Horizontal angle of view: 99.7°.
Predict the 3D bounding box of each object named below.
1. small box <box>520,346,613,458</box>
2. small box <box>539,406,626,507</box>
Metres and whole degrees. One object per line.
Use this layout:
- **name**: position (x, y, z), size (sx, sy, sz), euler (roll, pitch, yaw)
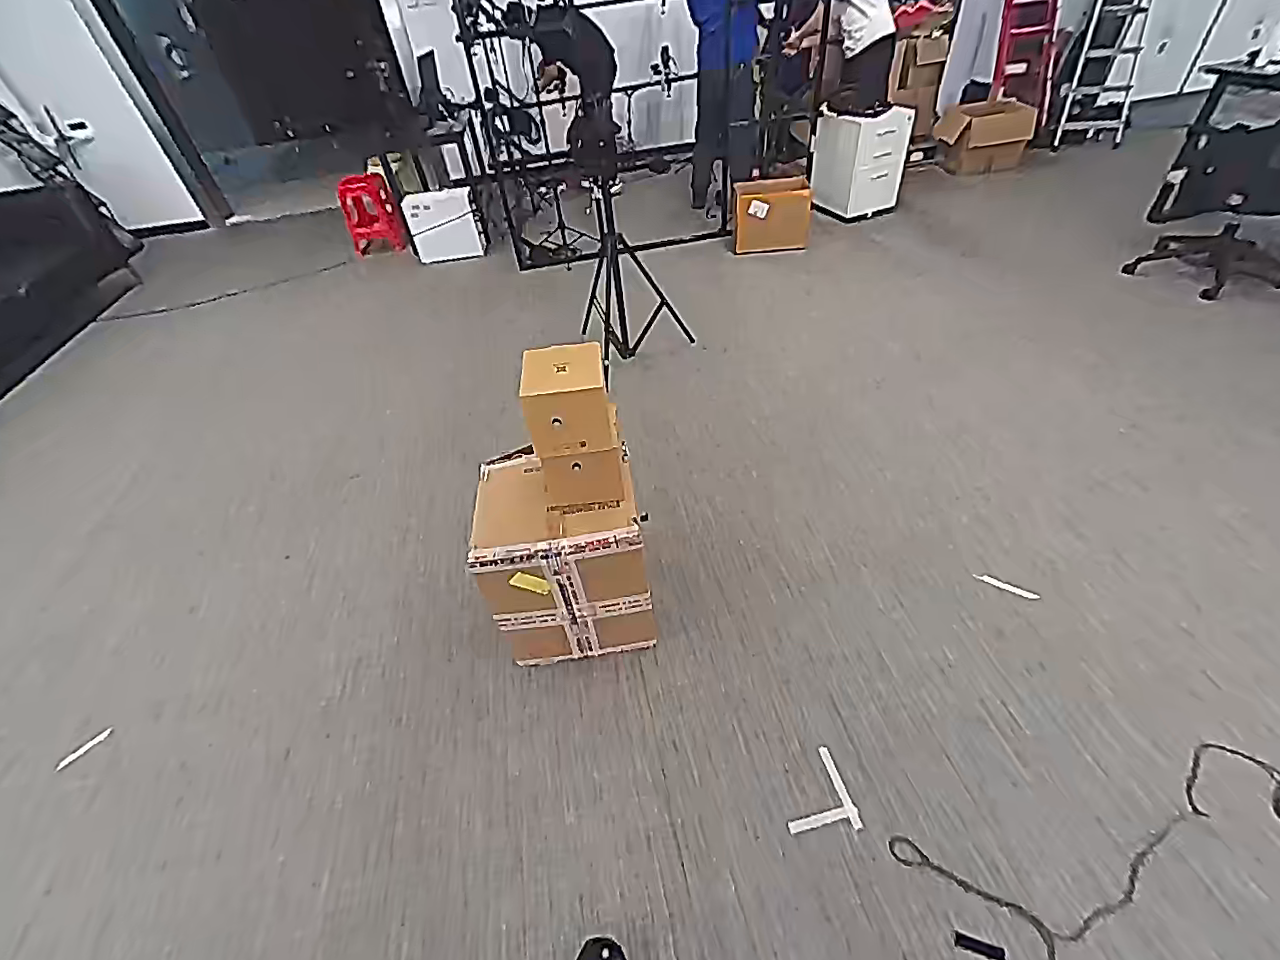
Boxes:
- **small box**: position (-0.153, -0.161, 1.158), size (0.168, 0.176, 0.179), euler (-8, 44, -1)
- **small box**: position (-0.131, -0.052, 1.277), size (0.179, 0.176, 0.168), euler (-6, 45, 0)
